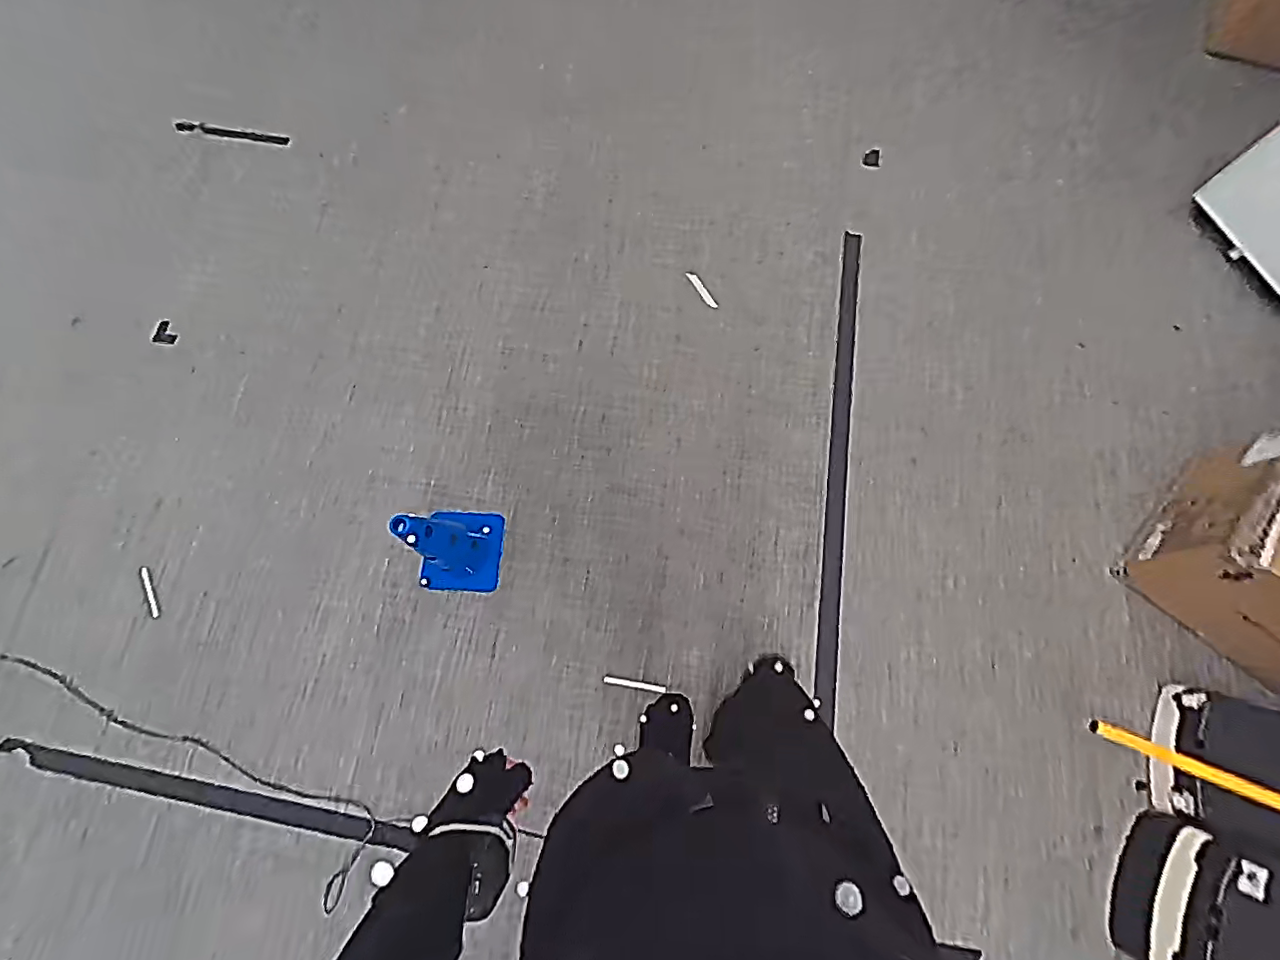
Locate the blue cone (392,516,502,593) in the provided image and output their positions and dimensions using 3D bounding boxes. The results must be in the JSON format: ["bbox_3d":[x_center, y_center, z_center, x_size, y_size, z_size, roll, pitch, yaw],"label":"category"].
[{"bbox_3d":[-0.454,0.146,1.217,0.193,0.380,0.192,4,75,3],"label":"blue cone"}]
